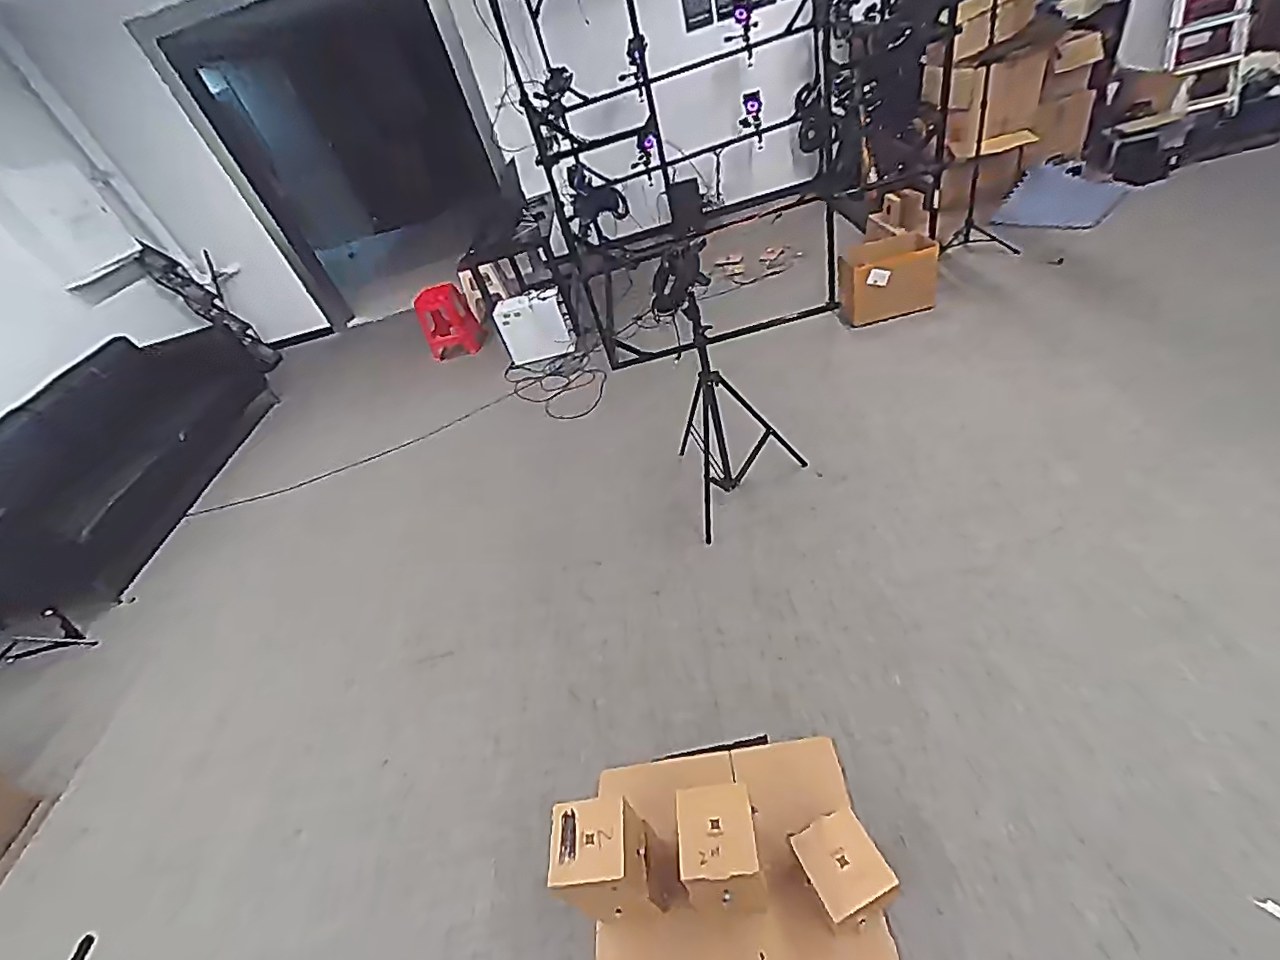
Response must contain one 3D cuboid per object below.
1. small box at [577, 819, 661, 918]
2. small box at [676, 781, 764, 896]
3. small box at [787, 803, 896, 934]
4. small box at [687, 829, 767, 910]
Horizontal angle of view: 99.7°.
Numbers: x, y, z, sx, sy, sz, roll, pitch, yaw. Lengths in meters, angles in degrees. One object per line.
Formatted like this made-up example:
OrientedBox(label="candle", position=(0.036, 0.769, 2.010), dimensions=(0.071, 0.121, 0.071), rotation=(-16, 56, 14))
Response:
OrientedBox(label="small box", position=(-0.047, 0.983, 1.366), dimensions=(0.179, 0.176, 0.168), rotation=(-14, 40, 8))
OrientedBox(label="small box", position=(0.179, 0.809, 1.220), dimensions=(0.168, 0.176, 0.179), rotation=(-11, 41, 9))
OrientedBox(label="small box", position=(0.465, 0.904, 1.257), dimensions=(0.168, 0.176, 0.179), rotation=(-26, 39, -7))
OrientedBox(label="small box", position=(0.211, 0.933, 1.325), dimensions=(0.179, 0.176, 0.168), rotation=(-12, 41, 9))
